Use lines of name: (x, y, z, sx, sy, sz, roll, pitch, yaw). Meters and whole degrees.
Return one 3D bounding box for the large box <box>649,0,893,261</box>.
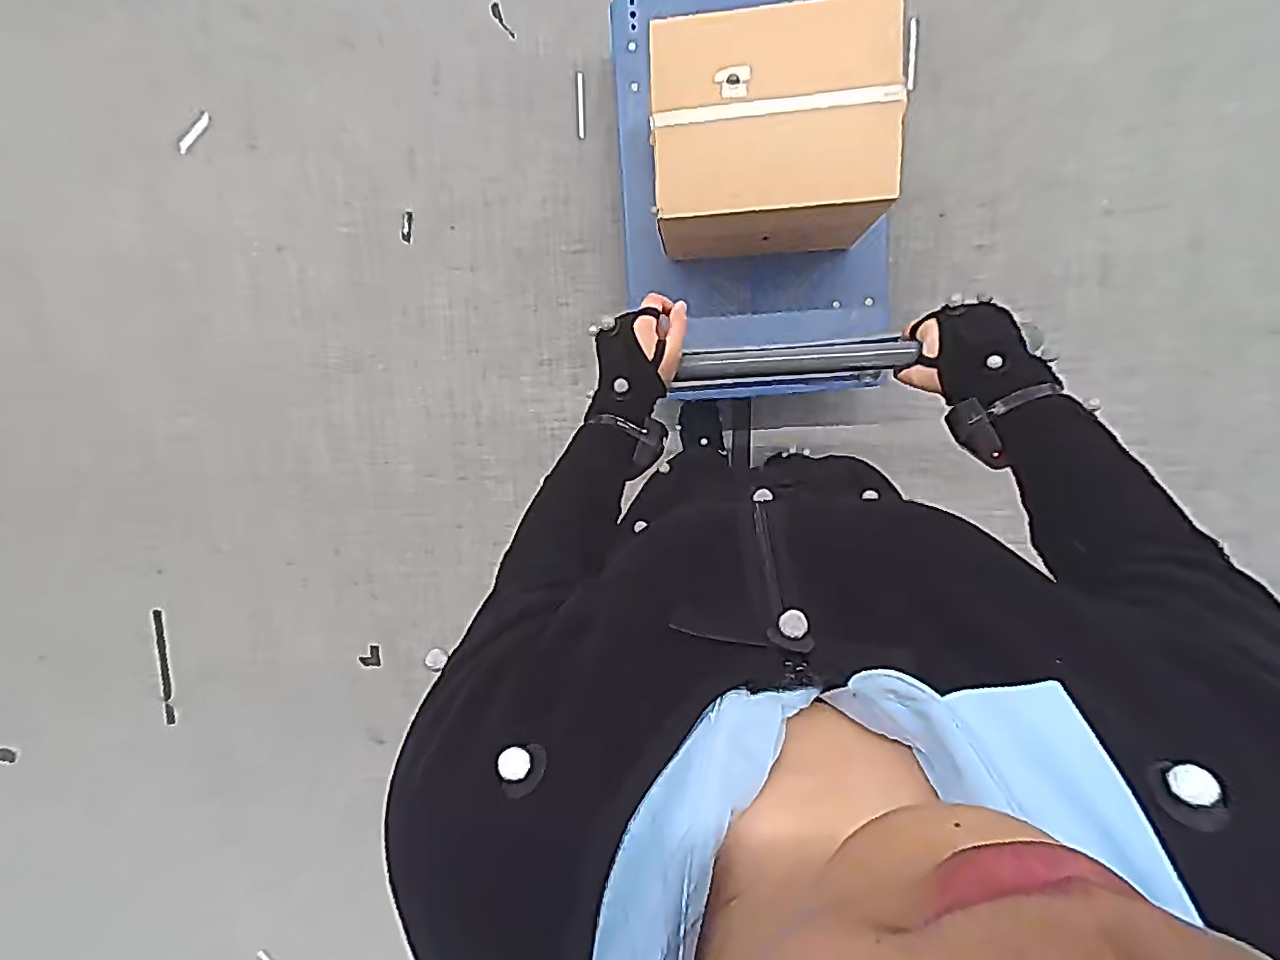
large box: (0.242, -0.641, 1.062, 0.408, 0.320, 0.320, -2, 97, 8)
